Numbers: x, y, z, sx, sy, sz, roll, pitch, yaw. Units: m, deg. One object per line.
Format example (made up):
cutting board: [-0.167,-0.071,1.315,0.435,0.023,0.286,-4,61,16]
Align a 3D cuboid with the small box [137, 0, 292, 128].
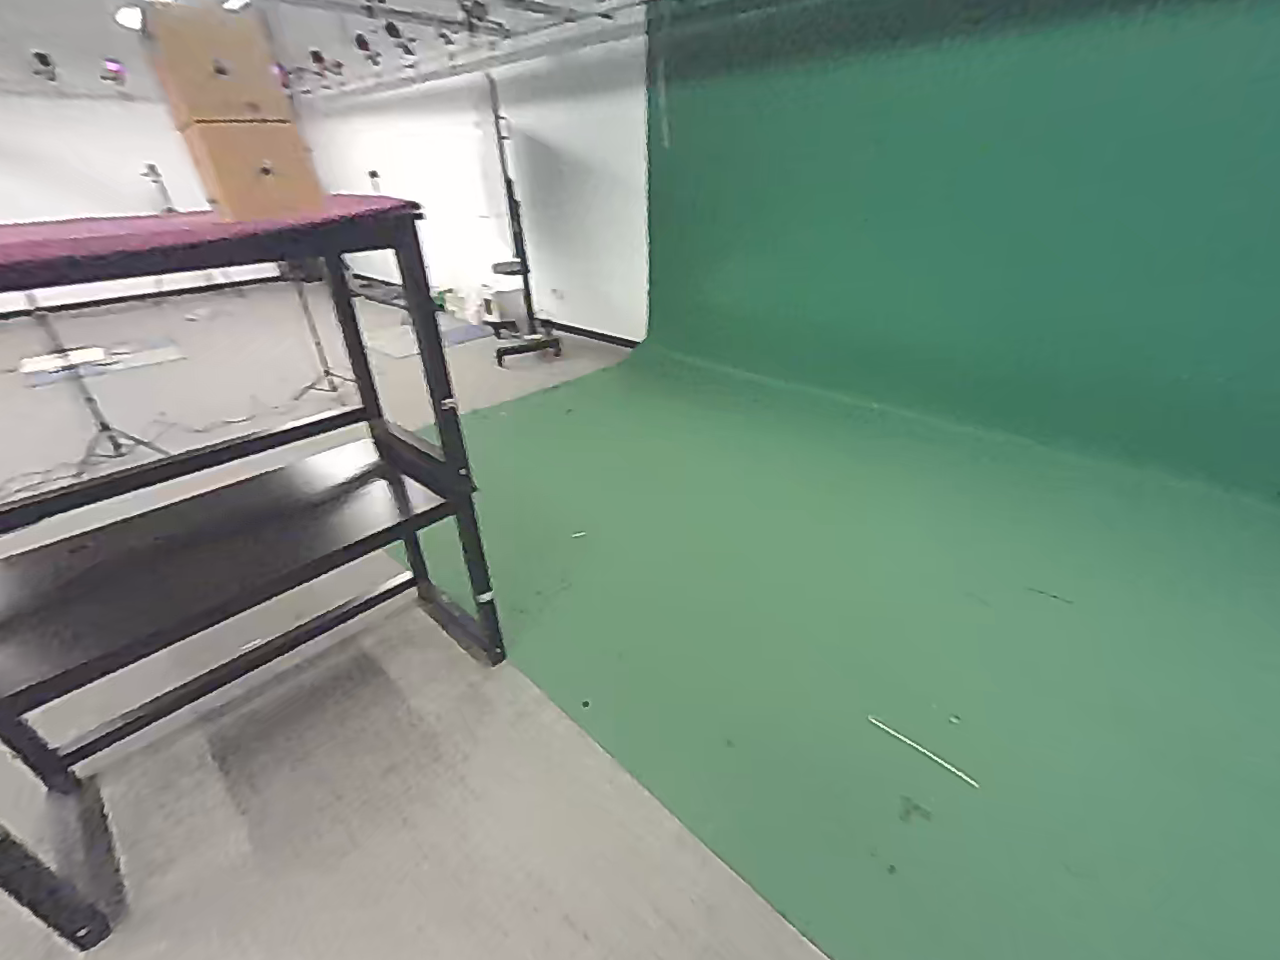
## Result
small box: [-0.783,-0.765,1.005,0.168,0.176,0.179,-29,38,-36]
